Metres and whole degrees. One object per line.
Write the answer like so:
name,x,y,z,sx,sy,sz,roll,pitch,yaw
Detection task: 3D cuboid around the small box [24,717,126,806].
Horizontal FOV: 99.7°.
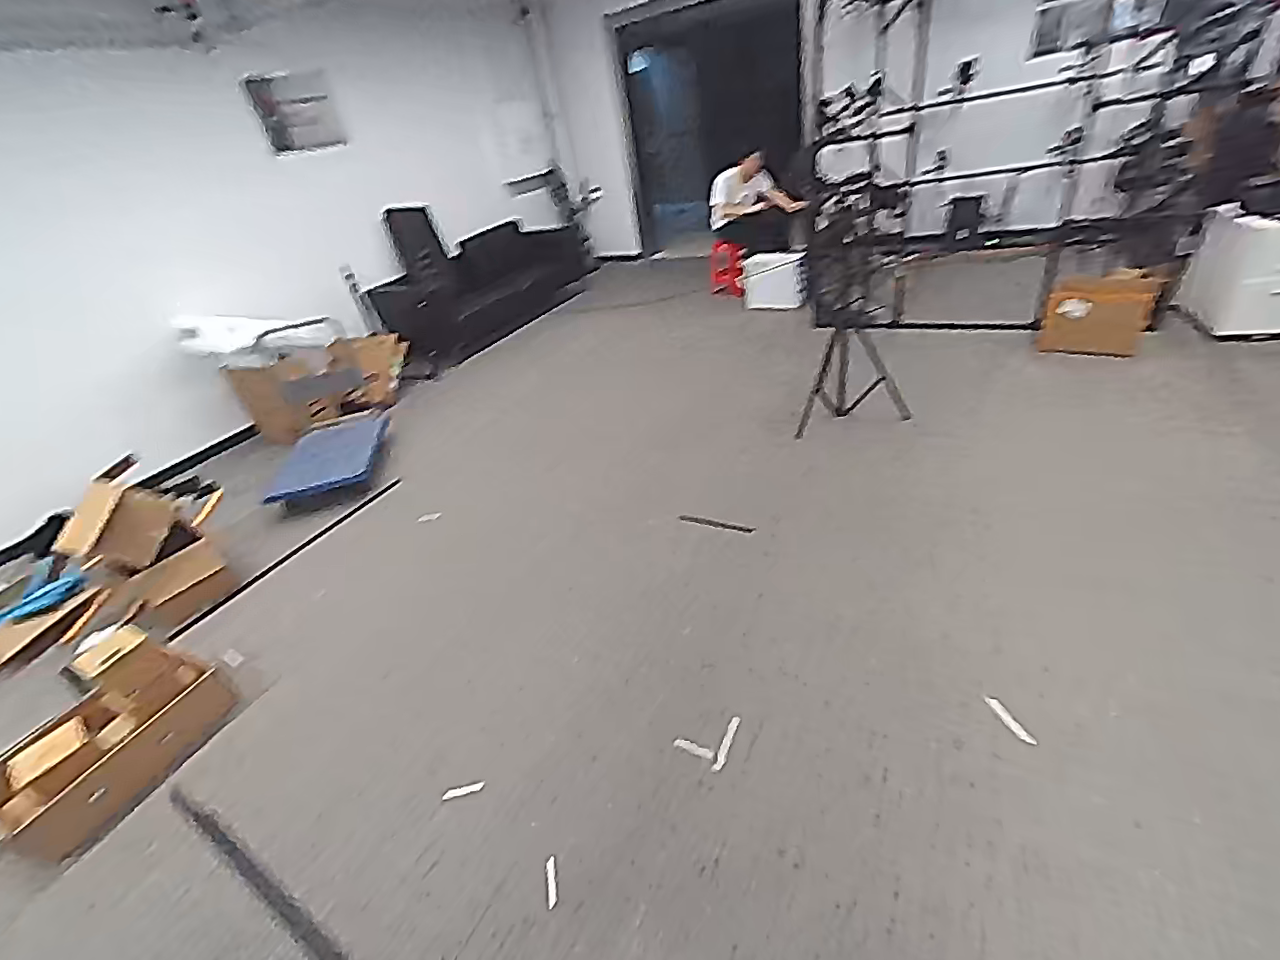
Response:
small box,-1.865,0.933,1.788,0.179,0.176,0.168,14,40,35

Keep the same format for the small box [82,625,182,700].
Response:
small box,-1.767,0.640,1.890,0.179,0.176,0.168,6,38,28
